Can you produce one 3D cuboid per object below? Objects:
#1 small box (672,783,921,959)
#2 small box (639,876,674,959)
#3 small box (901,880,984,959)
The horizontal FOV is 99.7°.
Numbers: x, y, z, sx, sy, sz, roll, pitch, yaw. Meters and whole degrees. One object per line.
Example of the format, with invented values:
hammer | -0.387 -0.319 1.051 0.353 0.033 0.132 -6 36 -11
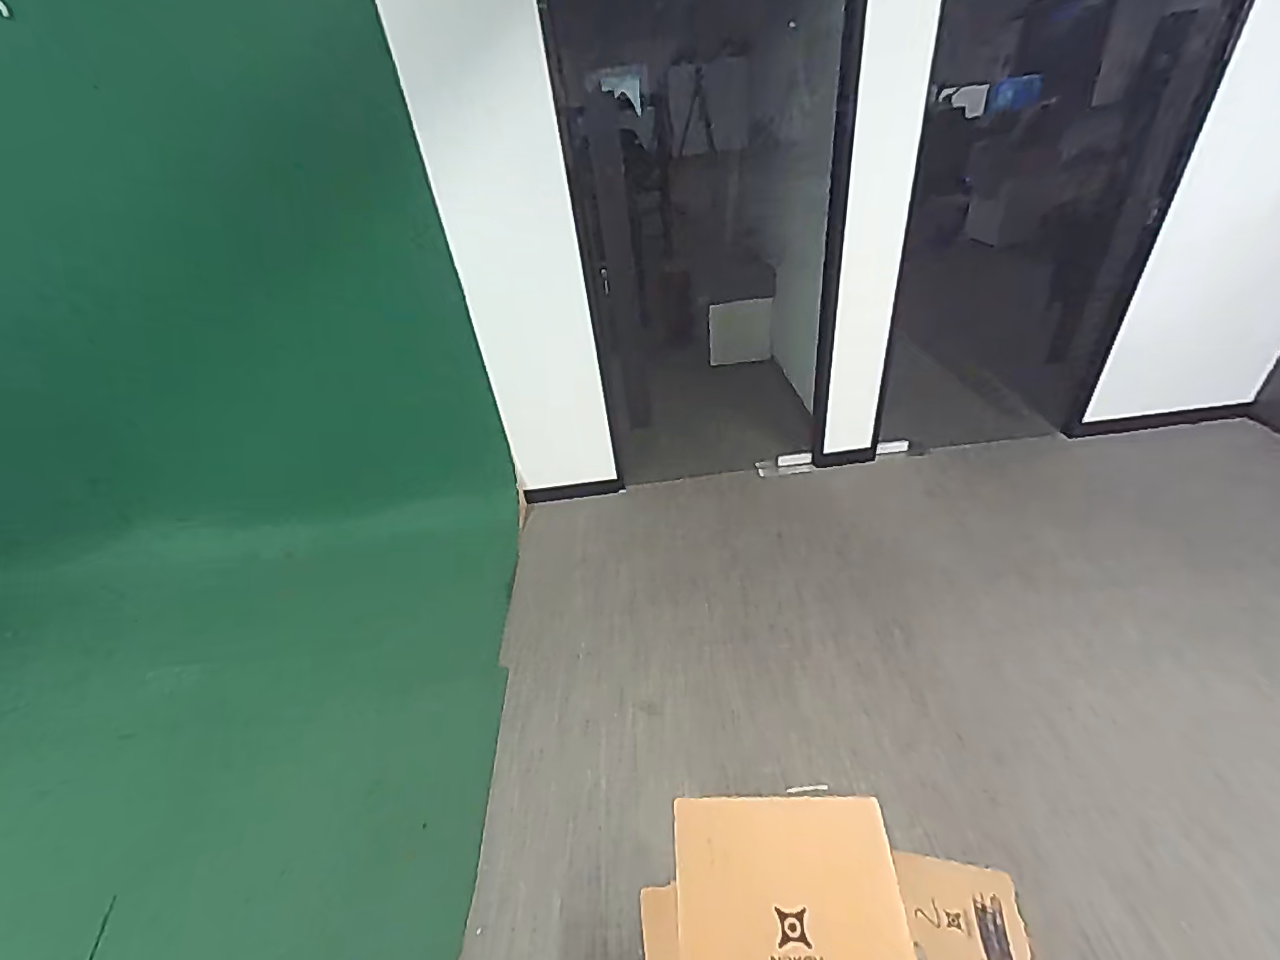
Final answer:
small box | 0.110 0.362 0.436 0.168 0.176 0.179 -2 49 3
small box | 0.094 0.862 0.998 0.168 0.176 0.179 -9 35 -1
small box | 0.494 0.842 0.952 0.168 0.176 0.179 2 37 13
